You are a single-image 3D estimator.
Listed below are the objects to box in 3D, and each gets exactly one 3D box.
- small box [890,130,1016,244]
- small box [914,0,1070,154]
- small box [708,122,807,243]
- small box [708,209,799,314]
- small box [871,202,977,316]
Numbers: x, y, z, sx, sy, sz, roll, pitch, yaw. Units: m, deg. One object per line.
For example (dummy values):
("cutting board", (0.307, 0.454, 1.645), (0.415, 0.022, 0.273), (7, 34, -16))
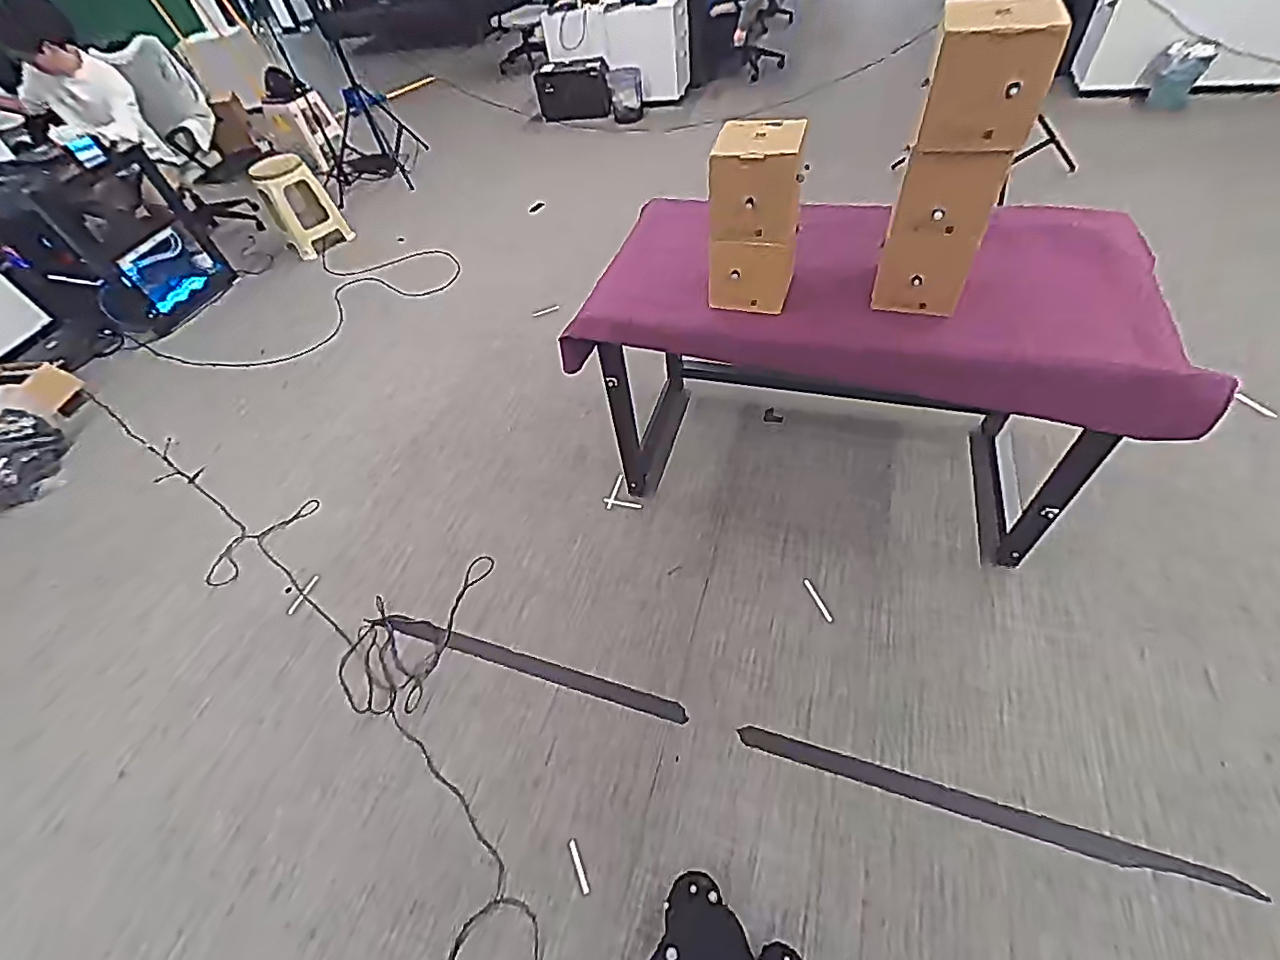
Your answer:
("small box", (0.590, -0.578, 1.033), (0.168, 0.176, 0.179), (13, 55, 18))
("small box", (0.567, -0.662, 0.895), (0.168, 0.176, 0.179), (10, 53, 15))
("small box", (0.240, -0.607, 1.110), (0.168, 0.176, 0.179), (10, 53, 15))
("small box", (0.258, -0.499, 1.232), (0.168, 0.176, 0.179), (12, 53, 17))
("small box", (0.605, -0.474, 1.159), (0.168, 0.176, 0.179), (13, 54, 18))
